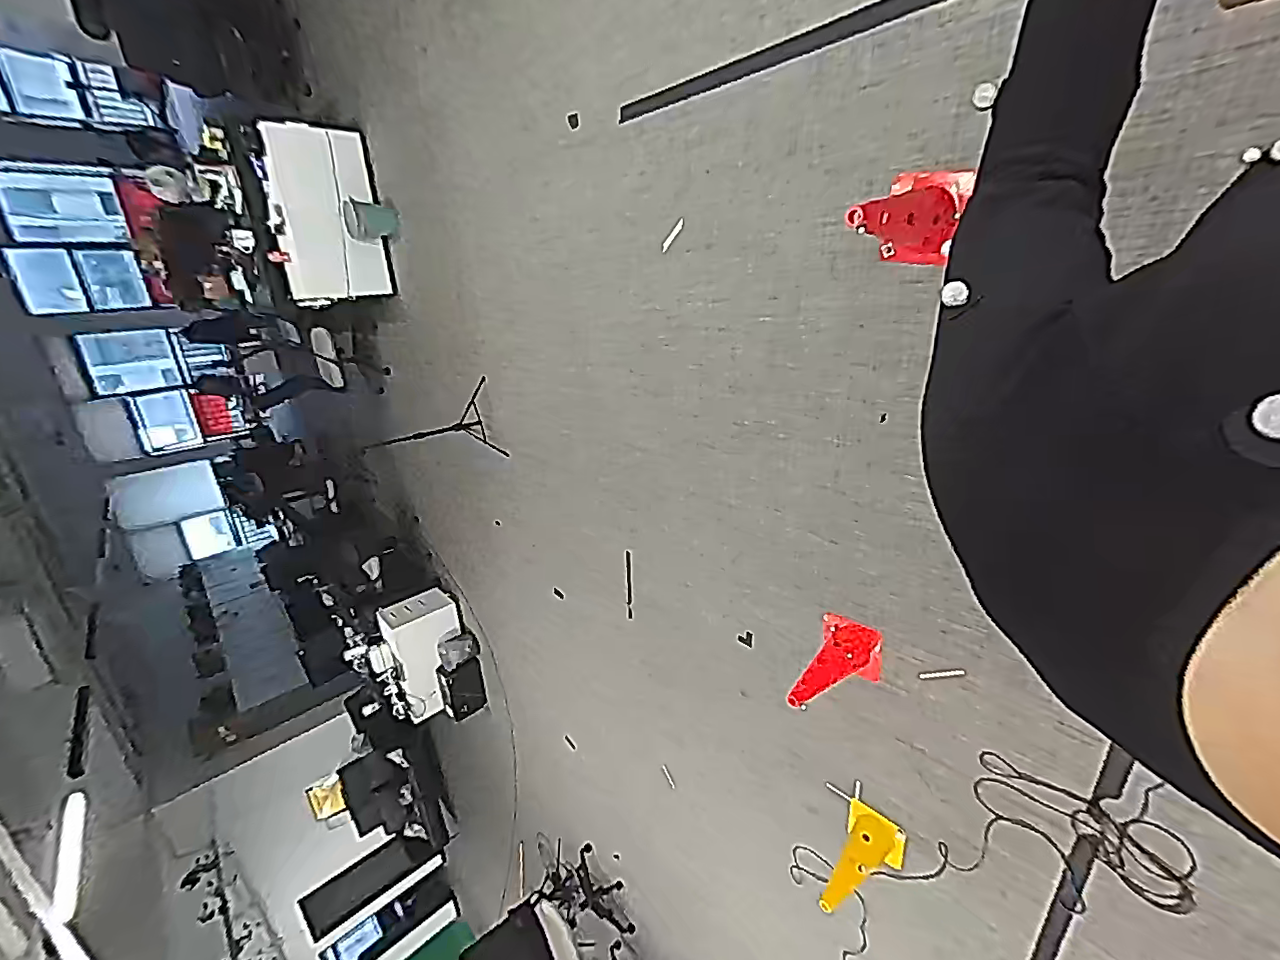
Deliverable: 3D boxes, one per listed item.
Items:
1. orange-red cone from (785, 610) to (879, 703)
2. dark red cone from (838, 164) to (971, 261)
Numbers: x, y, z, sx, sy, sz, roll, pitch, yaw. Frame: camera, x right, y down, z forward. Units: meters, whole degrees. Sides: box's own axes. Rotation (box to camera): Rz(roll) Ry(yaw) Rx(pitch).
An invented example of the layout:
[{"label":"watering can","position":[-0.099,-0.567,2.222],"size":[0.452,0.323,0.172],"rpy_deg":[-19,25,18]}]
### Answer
[{"label":"orange-red cone","position":[0.578,0.600,1.714],"size":[0.198,0.360,0.199],"rpy_deg":[17,120,47]},{"label":"dark red cone","position":[0.544,-0.586,1.182],"size":[0.201,0.394,0.202],"rpy_deg":[25,125,41]}]
